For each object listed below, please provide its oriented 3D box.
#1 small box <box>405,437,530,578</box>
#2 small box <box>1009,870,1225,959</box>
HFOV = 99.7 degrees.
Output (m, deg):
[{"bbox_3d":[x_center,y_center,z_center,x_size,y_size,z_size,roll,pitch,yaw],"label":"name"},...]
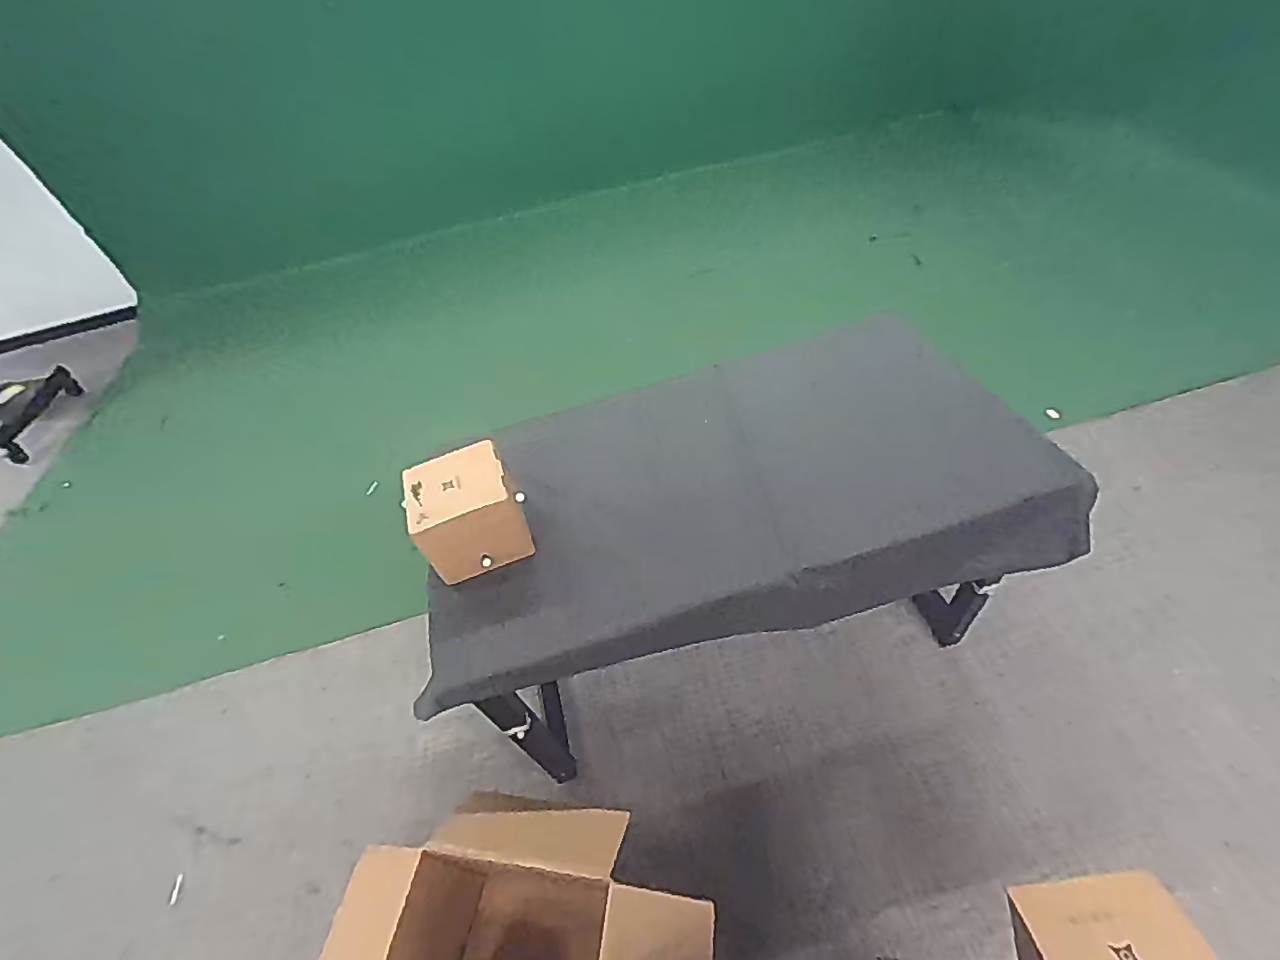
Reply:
[{"bbox_3d":[-0.318,0.054,1.018,0.179,0.176,0.168,-20,48,-8],"label":"small box"},{"bbox_3d":[0.551,0.587,0.601,0.168,0.176,0.179,-14,15,10],"label":"small box"}]
